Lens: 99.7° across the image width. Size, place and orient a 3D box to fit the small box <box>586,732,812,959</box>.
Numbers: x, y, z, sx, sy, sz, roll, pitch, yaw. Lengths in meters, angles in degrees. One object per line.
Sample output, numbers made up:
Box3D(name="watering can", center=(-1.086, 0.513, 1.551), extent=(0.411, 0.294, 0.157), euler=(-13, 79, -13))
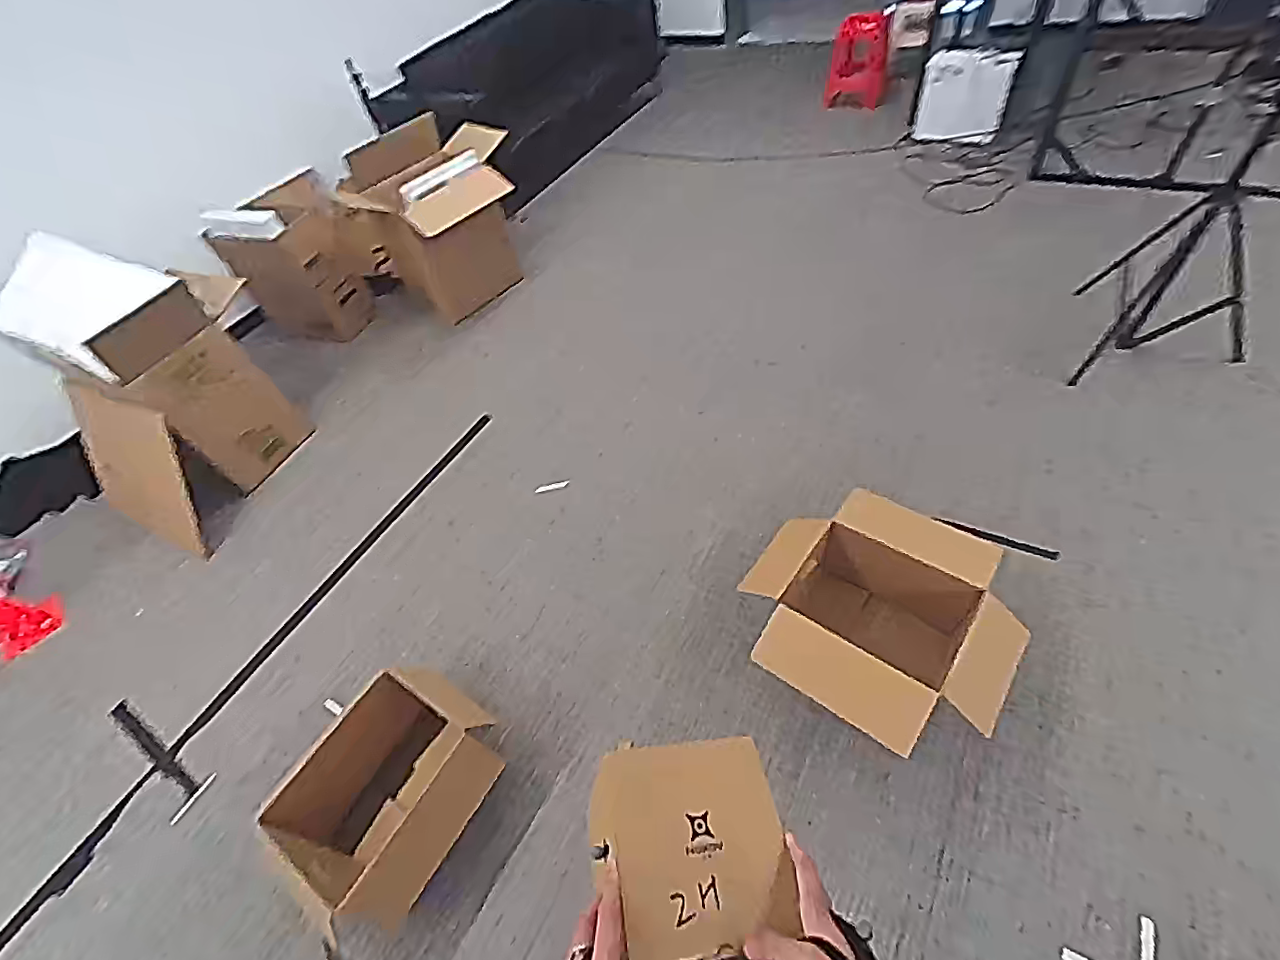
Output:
Box3D(name="small box", center=(0.040, 0.389, 0.552), extent=(0.168, 0.176, 0.179), euler=(-1, 41, -14))
